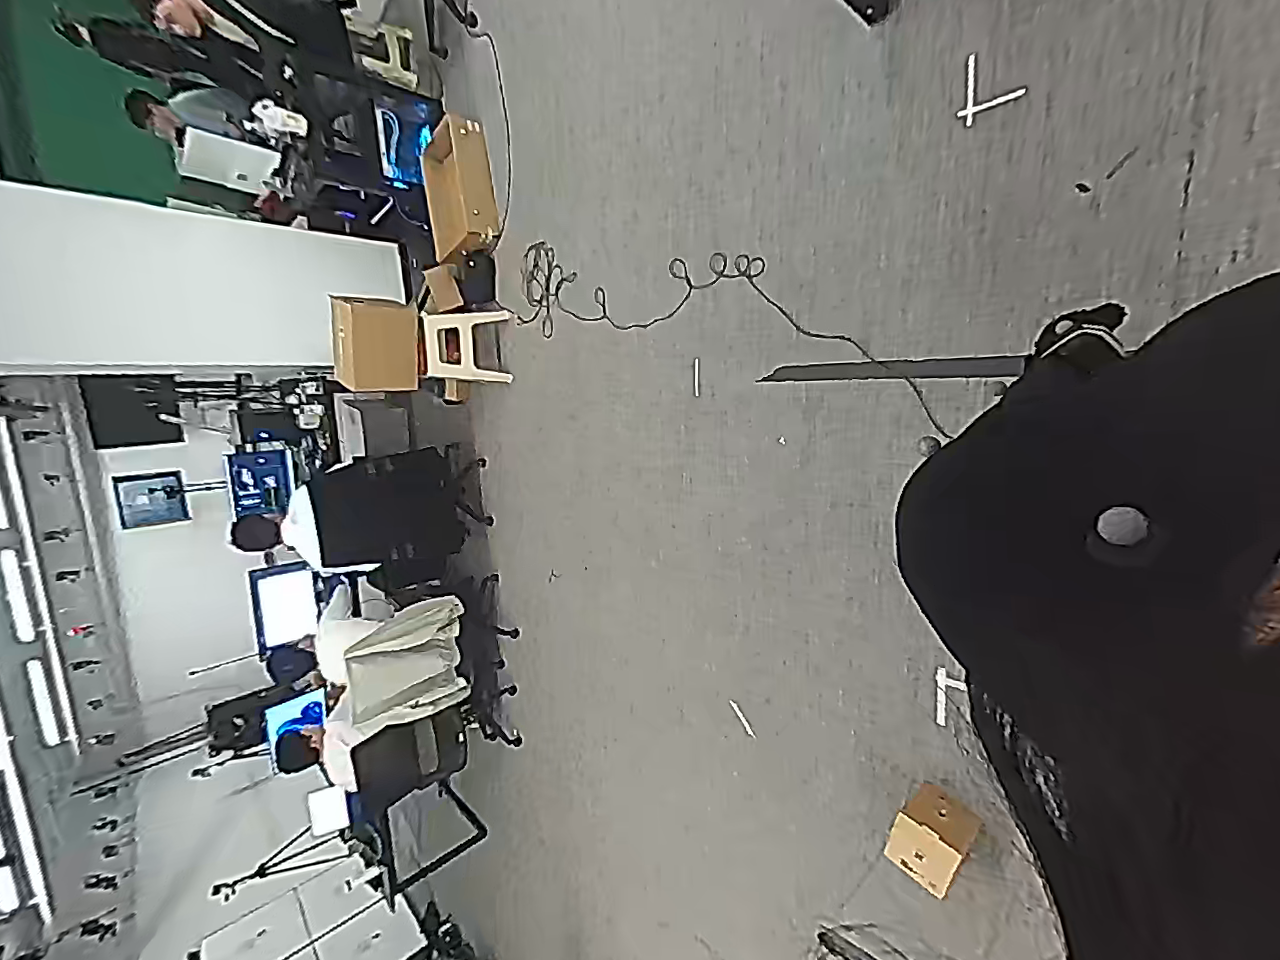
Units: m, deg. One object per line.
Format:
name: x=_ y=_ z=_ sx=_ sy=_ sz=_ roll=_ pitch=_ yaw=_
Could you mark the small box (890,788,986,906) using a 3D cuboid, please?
small box: x=0.831 y=1.006 z=1.502 sx=0.168 sy=0.176 sz=0.179 roll=27 pitch=116 yaw=43
